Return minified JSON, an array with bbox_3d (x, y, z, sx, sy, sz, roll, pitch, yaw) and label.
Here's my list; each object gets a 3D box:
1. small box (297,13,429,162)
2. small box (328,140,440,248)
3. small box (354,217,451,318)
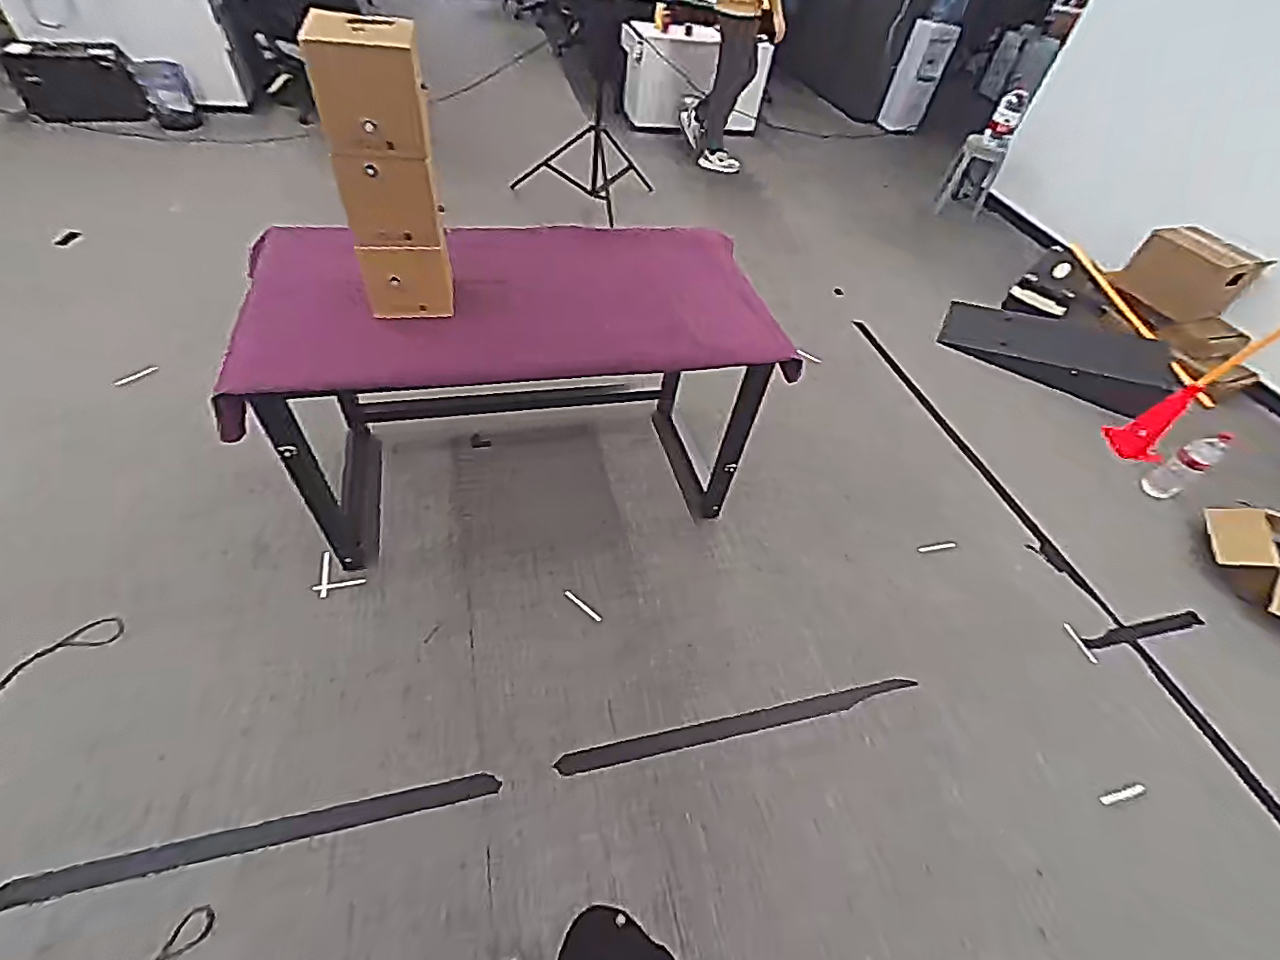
[{"bbox_3d":[-0.476,-0.691,0.958,0.168,0.176,0.179,-6,52,-14],"label":"small box"},{"bbox_3d":[-0.501,-0.586,1.083,0.168,0.176,0.179,-7,51,-14],"label":"small box"},{"bbox_3d":[-0.519,-0.476,1.203,0.168,0.176,0.179,-6,51,-14],"label":"small box"}]
